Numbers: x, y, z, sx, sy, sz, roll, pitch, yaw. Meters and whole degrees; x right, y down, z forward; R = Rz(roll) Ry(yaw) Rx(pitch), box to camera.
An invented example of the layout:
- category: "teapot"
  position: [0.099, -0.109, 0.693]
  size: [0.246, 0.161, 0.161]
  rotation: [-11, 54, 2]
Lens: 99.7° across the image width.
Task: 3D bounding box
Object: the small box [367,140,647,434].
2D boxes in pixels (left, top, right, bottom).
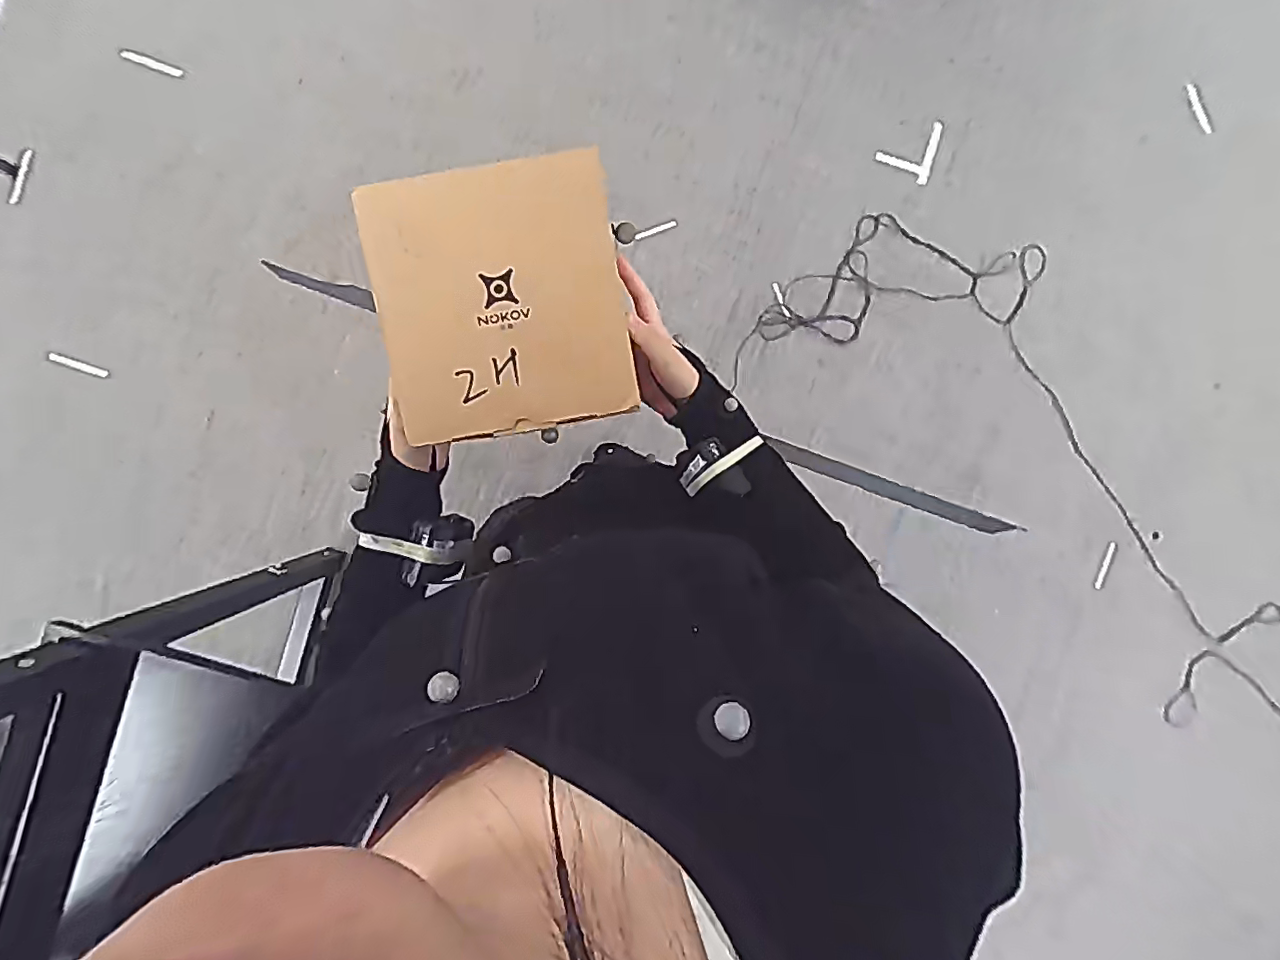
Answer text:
- category: "small box"
  position: [-0.089, -0.138, 0.444]
  size: [0.168, 0.176, 0.179]
  rotation: [-9, 99, 1]
